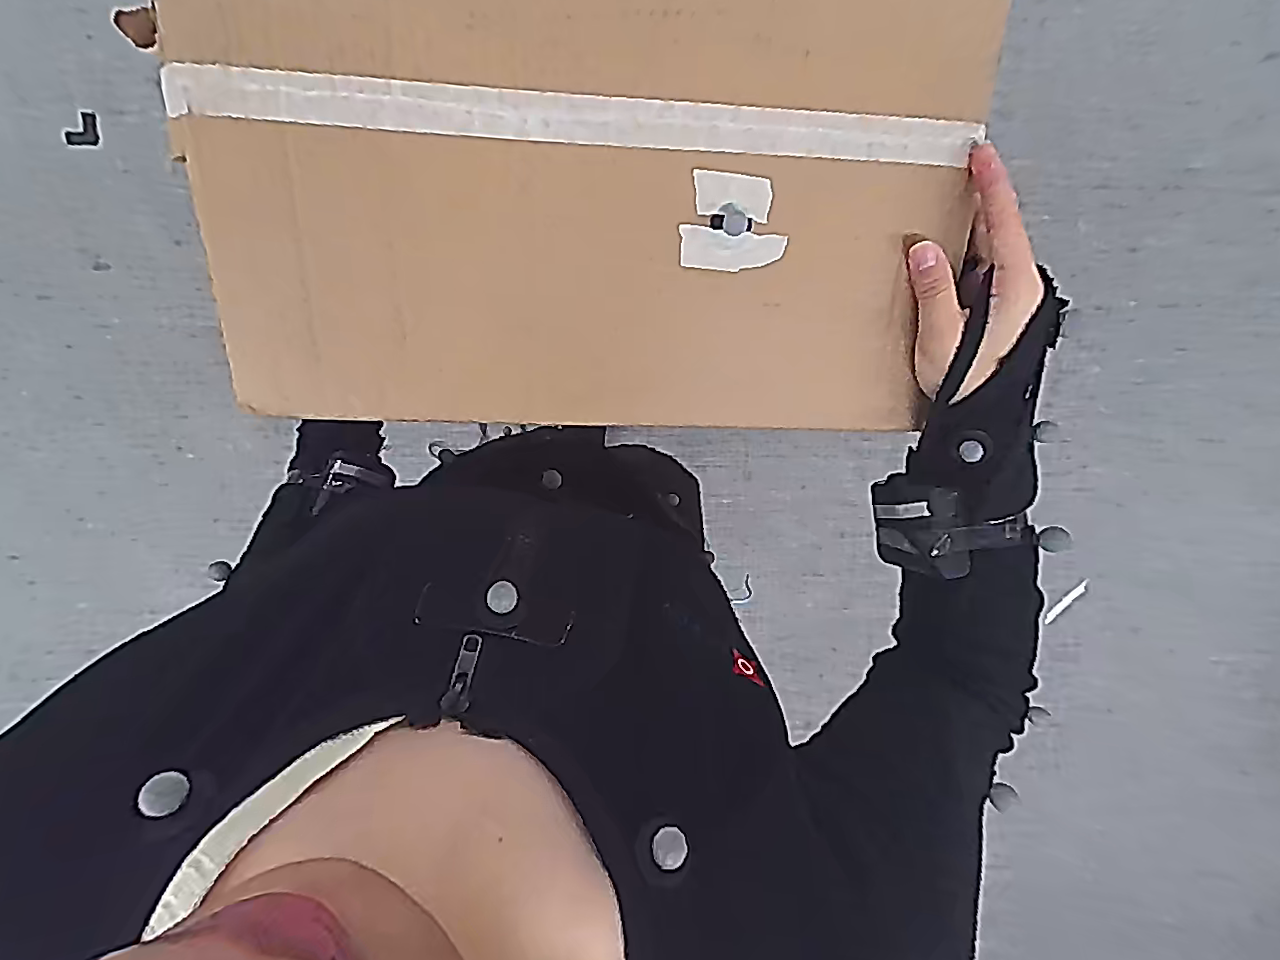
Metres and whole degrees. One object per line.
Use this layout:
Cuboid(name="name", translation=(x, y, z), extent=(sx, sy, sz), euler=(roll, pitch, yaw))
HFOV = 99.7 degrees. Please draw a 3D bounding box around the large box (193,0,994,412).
Cuboid(name="large box", translation=(-0.031, -0.234, 0.425), extent=(0.408, 0.320, 0.320), euler=(0, 109, -7))
